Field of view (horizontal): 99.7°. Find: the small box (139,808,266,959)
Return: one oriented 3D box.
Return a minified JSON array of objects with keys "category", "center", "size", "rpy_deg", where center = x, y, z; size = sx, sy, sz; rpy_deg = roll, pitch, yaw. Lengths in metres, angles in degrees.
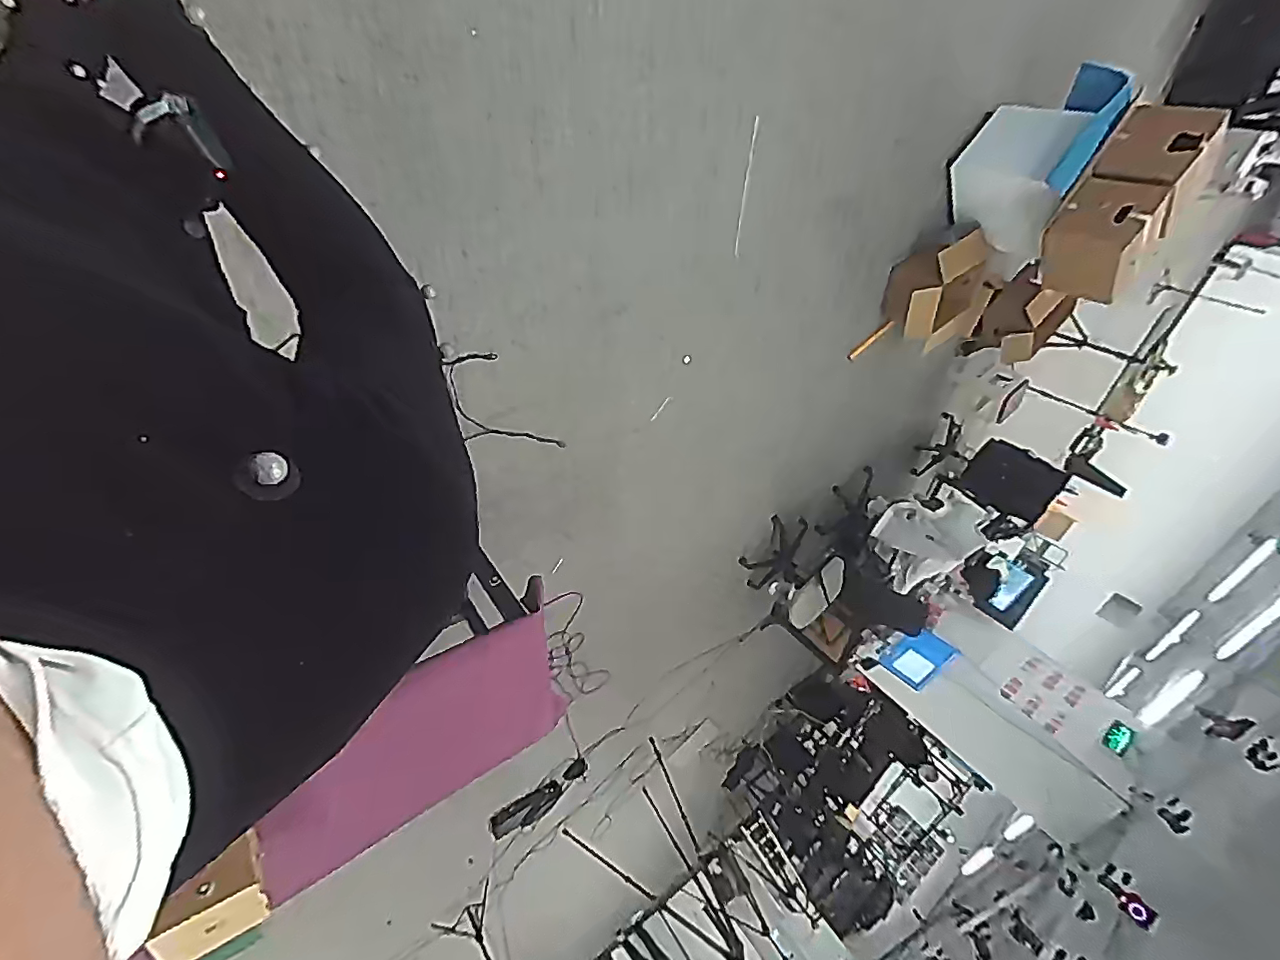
[{"category":"small box","center":[-0.908,0.834,1.126],"size":[0.179,0.176,0.168],"rpy_deg":[-14,131,-37]}]
